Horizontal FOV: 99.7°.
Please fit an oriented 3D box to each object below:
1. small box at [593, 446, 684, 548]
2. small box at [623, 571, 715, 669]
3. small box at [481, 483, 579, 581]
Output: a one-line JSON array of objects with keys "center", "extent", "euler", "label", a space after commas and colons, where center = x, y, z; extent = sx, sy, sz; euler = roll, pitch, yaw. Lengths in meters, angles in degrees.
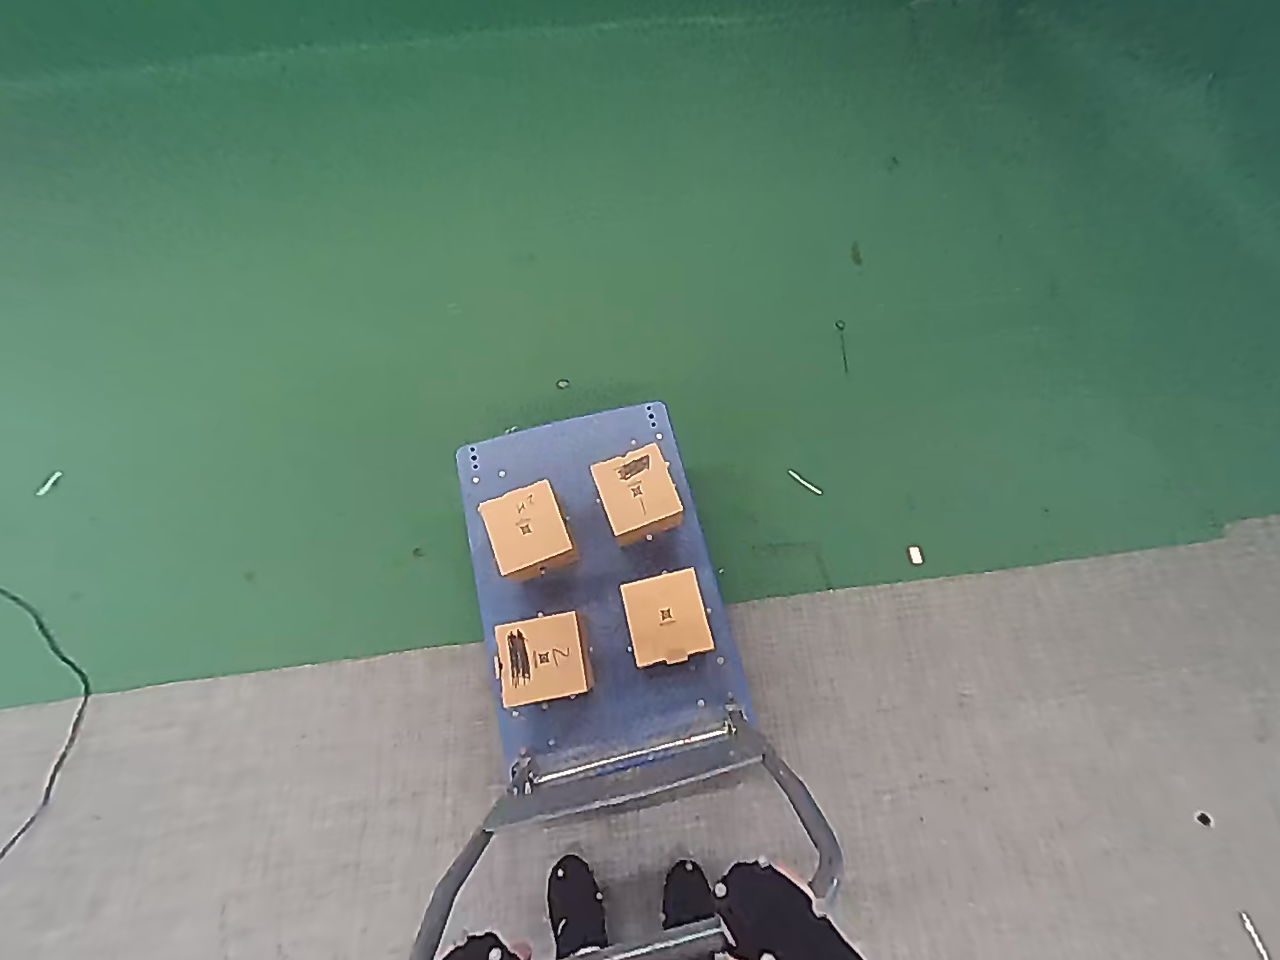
[{"center": [-0.005, 0.046, 1.291], "extent": [0.168, 0.176, 0.179], "euler": [-20, 76, -4], "label": "small box"}, {"center": [0.059, 0.315, 1.215], "extent": [0.168, 0.176, 0.179], "euler": [-13, 75, -3], "label": "small box"}, {"center": [-0.251, 0.130, 1.270], "extent": [0.168, 0.176, 0.179], "euler": [-20, 75, -6], "label": "small box"}]
